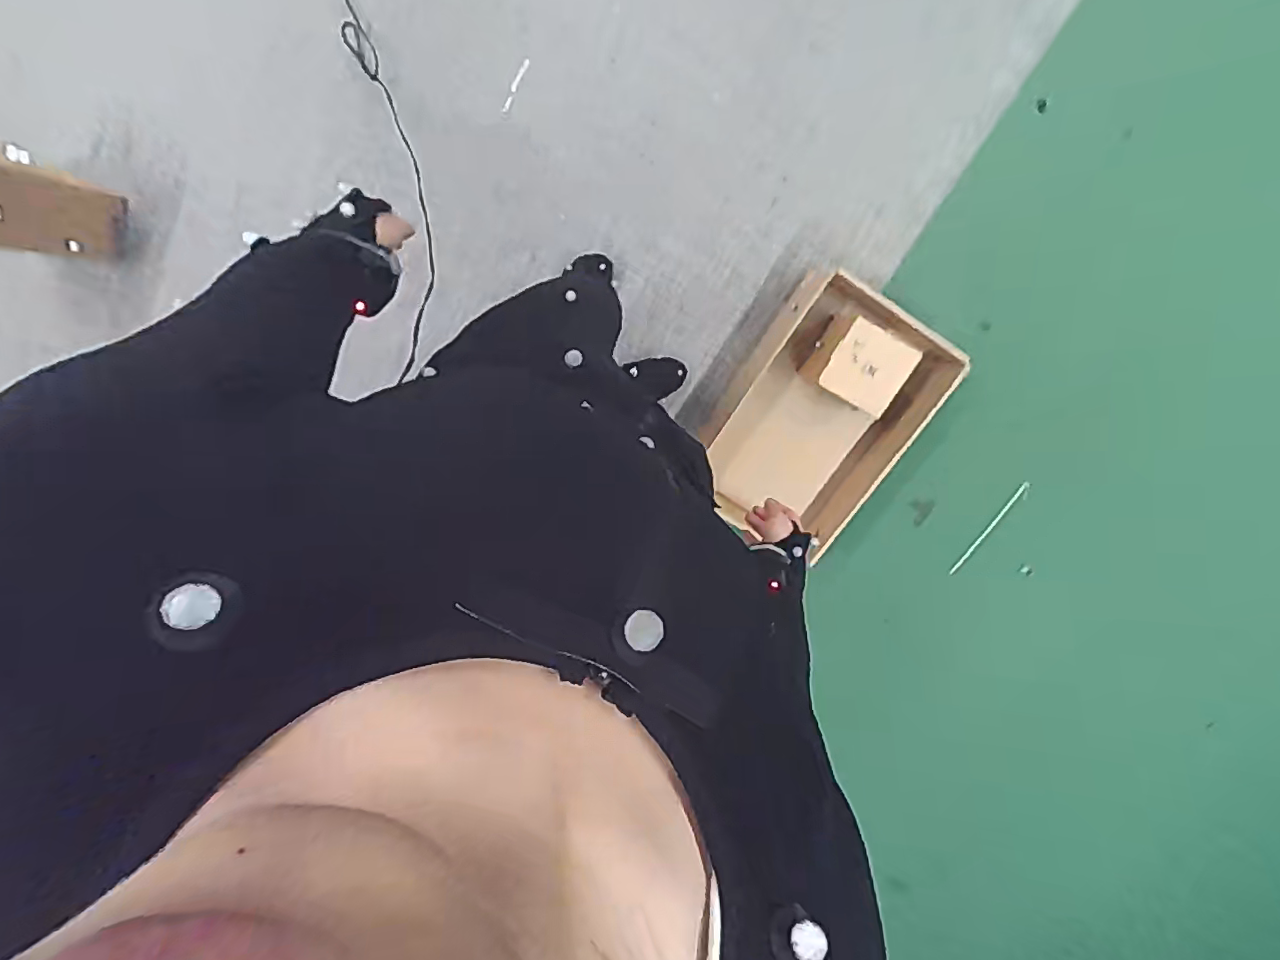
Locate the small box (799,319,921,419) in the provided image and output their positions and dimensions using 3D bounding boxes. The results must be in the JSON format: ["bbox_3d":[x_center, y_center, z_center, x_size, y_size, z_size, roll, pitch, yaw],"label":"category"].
[{"bbox_3d":[0.506,-0.268,1.271,0.179,0.176,0.168,29,106,-7],"label":"small box"}]

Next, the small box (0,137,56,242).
[{"bbox_3d":[-1.353,-0.607,1.091,0.168,0.176,0.179,27,105,-8],"label":"small box"}]
